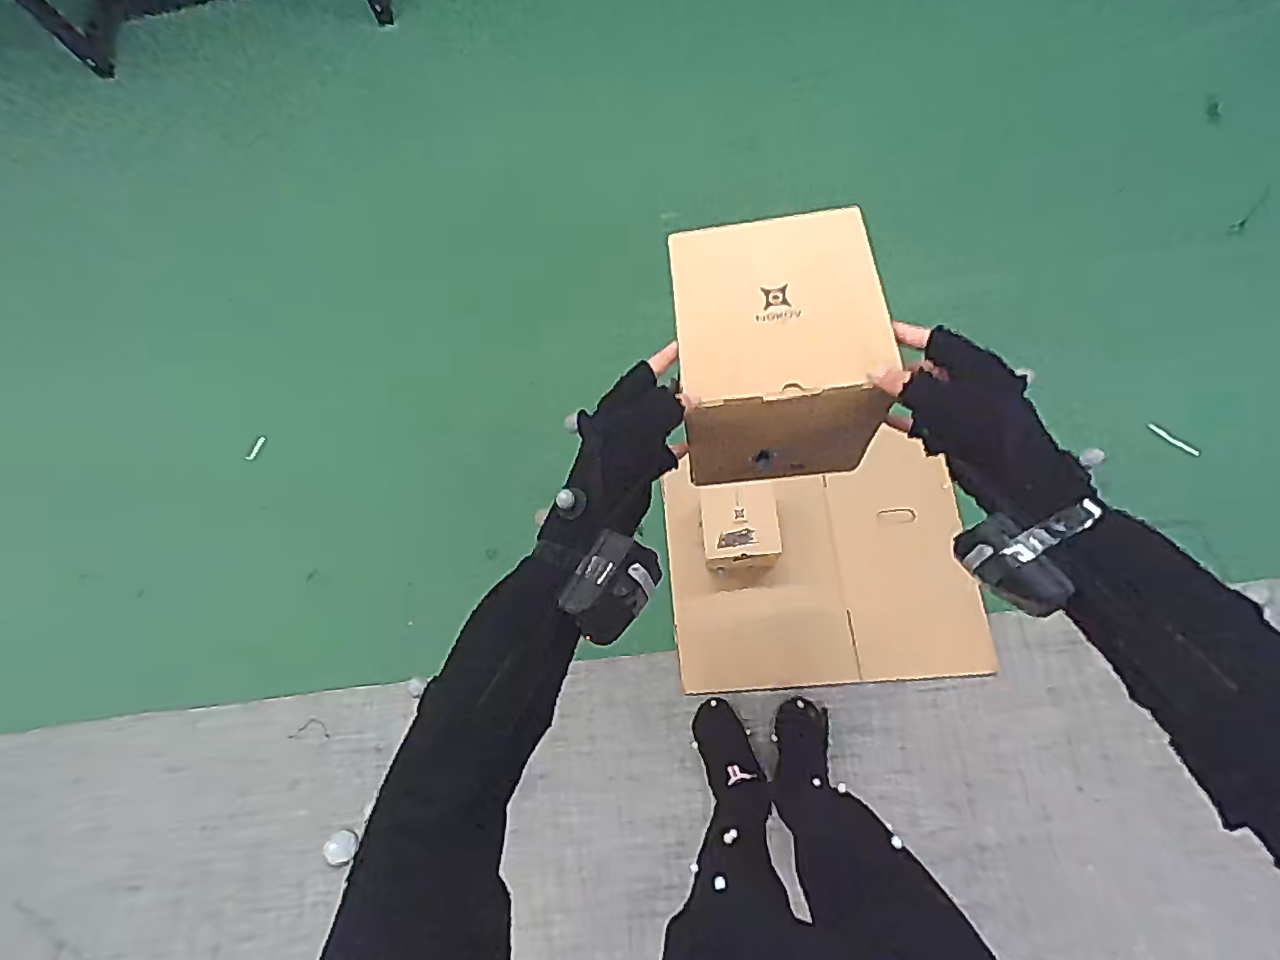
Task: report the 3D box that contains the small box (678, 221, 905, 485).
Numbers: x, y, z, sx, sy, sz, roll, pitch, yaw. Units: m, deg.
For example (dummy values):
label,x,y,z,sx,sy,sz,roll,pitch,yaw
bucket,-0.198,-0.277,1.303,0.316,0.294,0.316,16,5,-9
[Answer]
label,x,y,z,sx,sy,sz,roll,pitch,yaw
small box,0.126,-0.110,0.520,0.168,0.176,0.179,-5,67,6

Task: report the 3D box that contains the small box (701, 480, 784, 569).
label,x,y,z,sx,sy,sz,roll,pitch,yaw
small box,0.233,0.109,1.249,0.168,0.176,0.179,-5,72,6
